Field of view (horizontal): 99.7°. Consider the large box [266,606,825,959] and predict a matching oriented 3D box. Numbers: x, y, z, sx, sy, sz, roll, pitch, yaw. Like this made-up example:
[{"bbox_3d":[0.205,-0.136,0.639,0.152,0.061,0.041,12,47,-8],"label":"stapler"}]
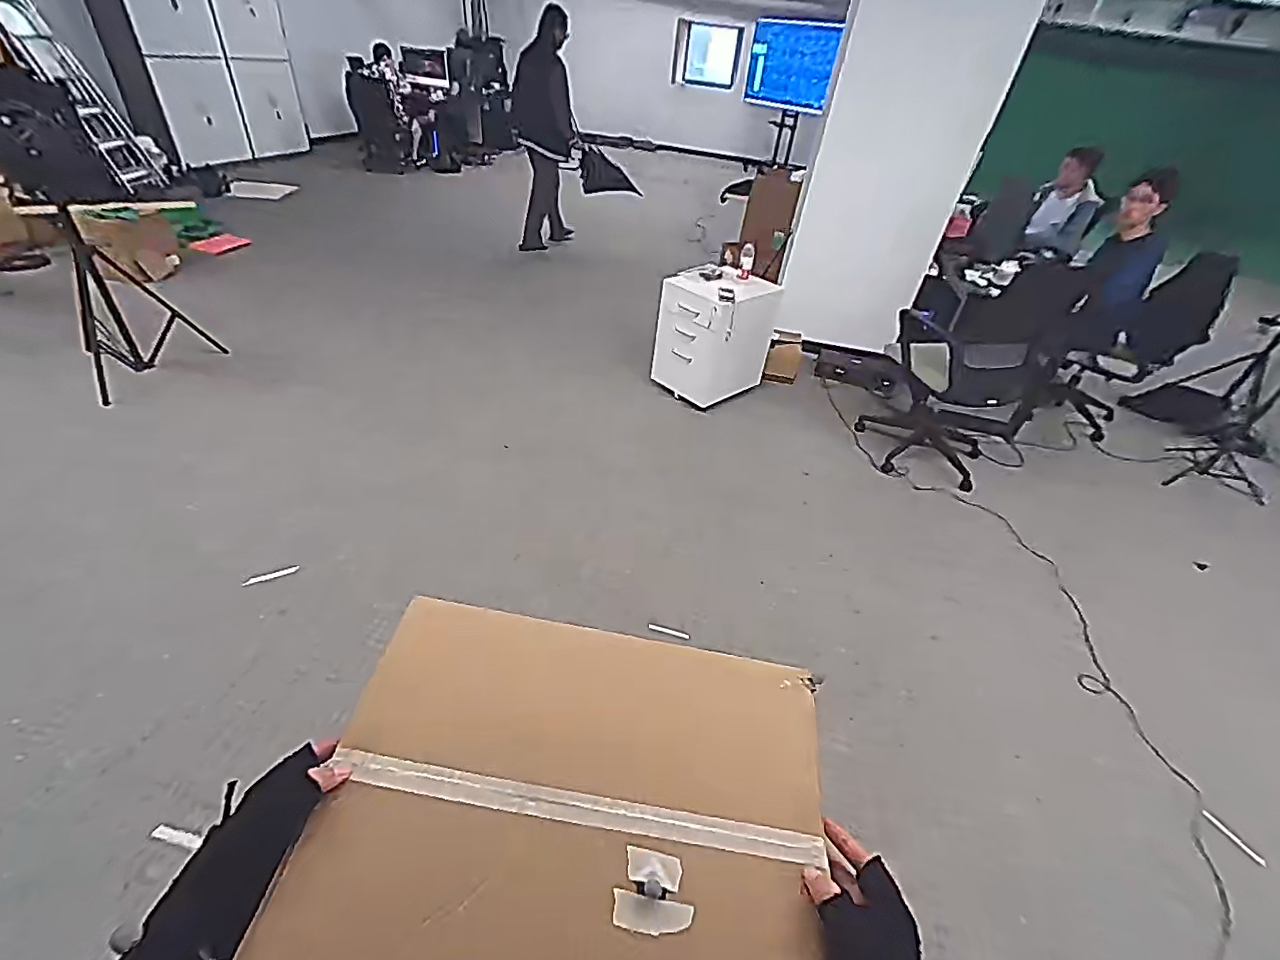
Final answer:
[{"bbox_3d":[-0.066,0.372,0.564,0.408,0.320,0.320,11,47,0],"label":"large box"}]
